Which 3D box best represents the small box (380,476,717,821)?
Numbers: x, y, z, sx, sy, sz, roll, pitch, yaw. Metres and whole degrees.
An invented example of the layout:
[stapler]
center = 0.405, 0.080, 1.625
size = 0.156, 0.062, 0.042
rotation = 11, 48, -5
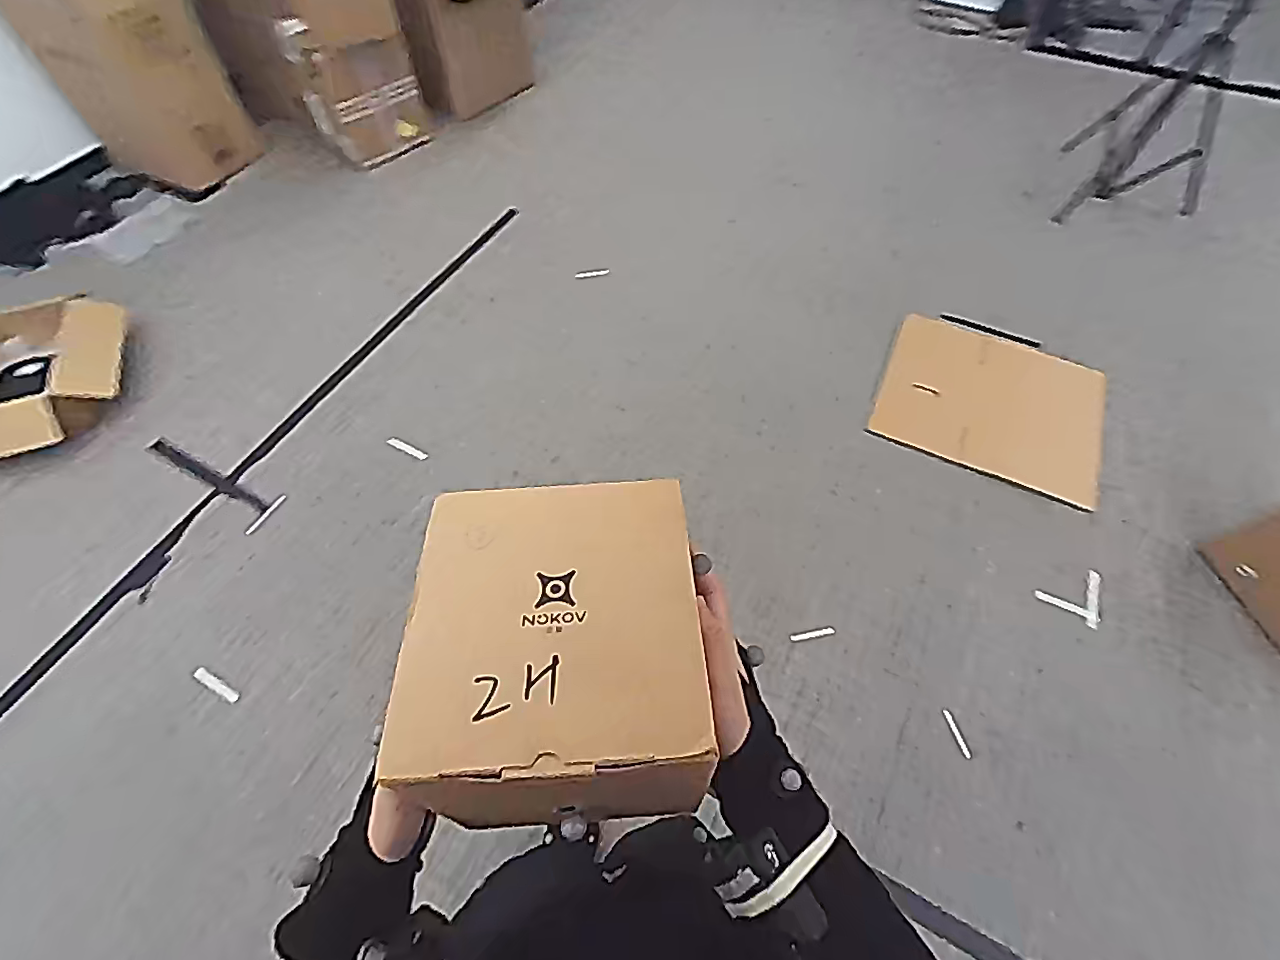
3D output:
[small box]
center = -0.047, 0.117, 0.372
size = 0.168, 0.176, 0.179
rotation = -3, 51, -1
